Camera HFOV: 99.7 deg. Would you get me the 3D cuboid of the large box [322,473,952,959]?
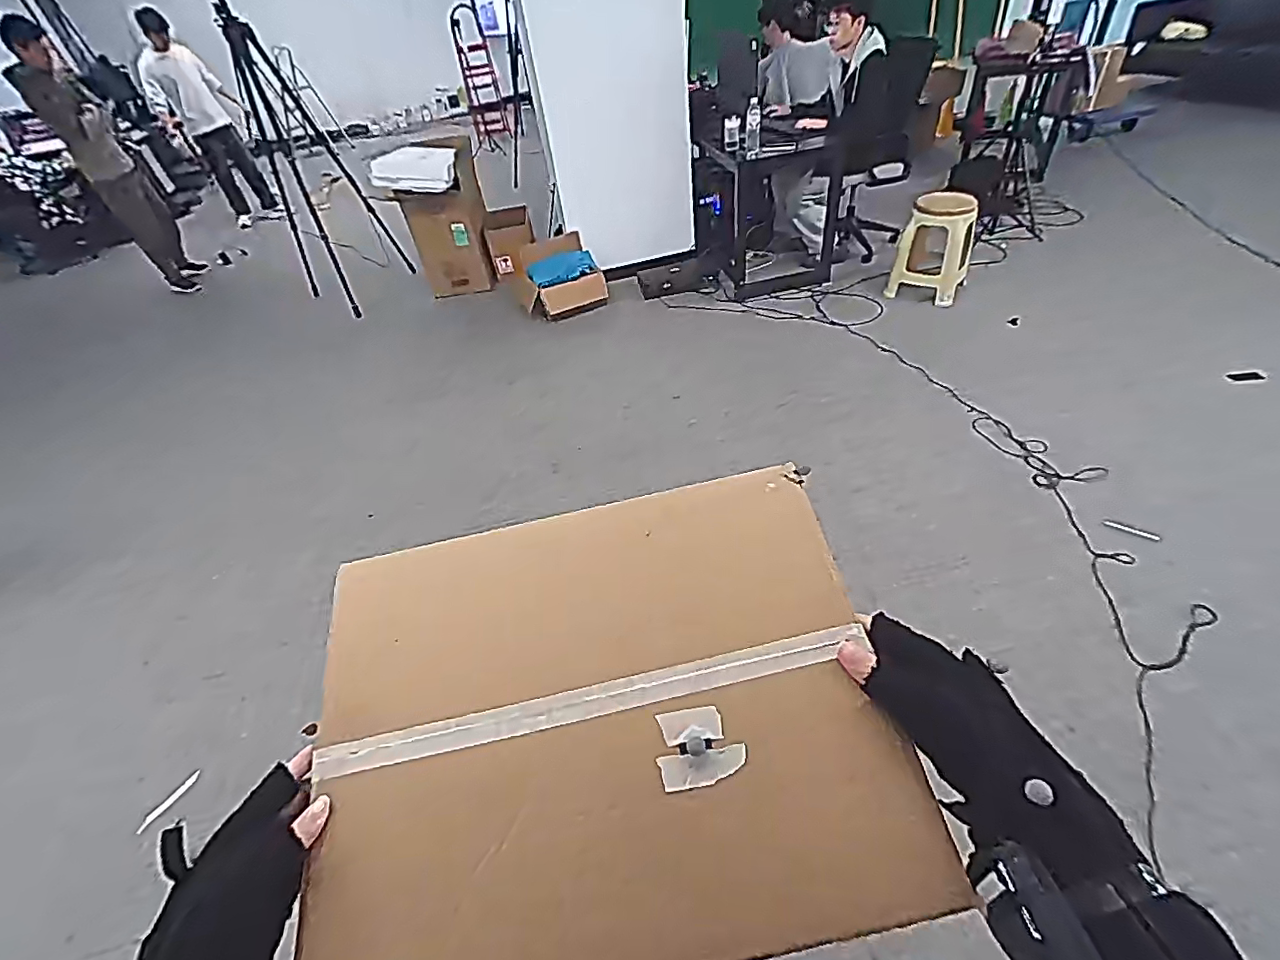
[{"bbox_3d":[-0.016,0.241,0.529,0.408,0.320,0.320,-13,59,-1],"label":"large box"}]
